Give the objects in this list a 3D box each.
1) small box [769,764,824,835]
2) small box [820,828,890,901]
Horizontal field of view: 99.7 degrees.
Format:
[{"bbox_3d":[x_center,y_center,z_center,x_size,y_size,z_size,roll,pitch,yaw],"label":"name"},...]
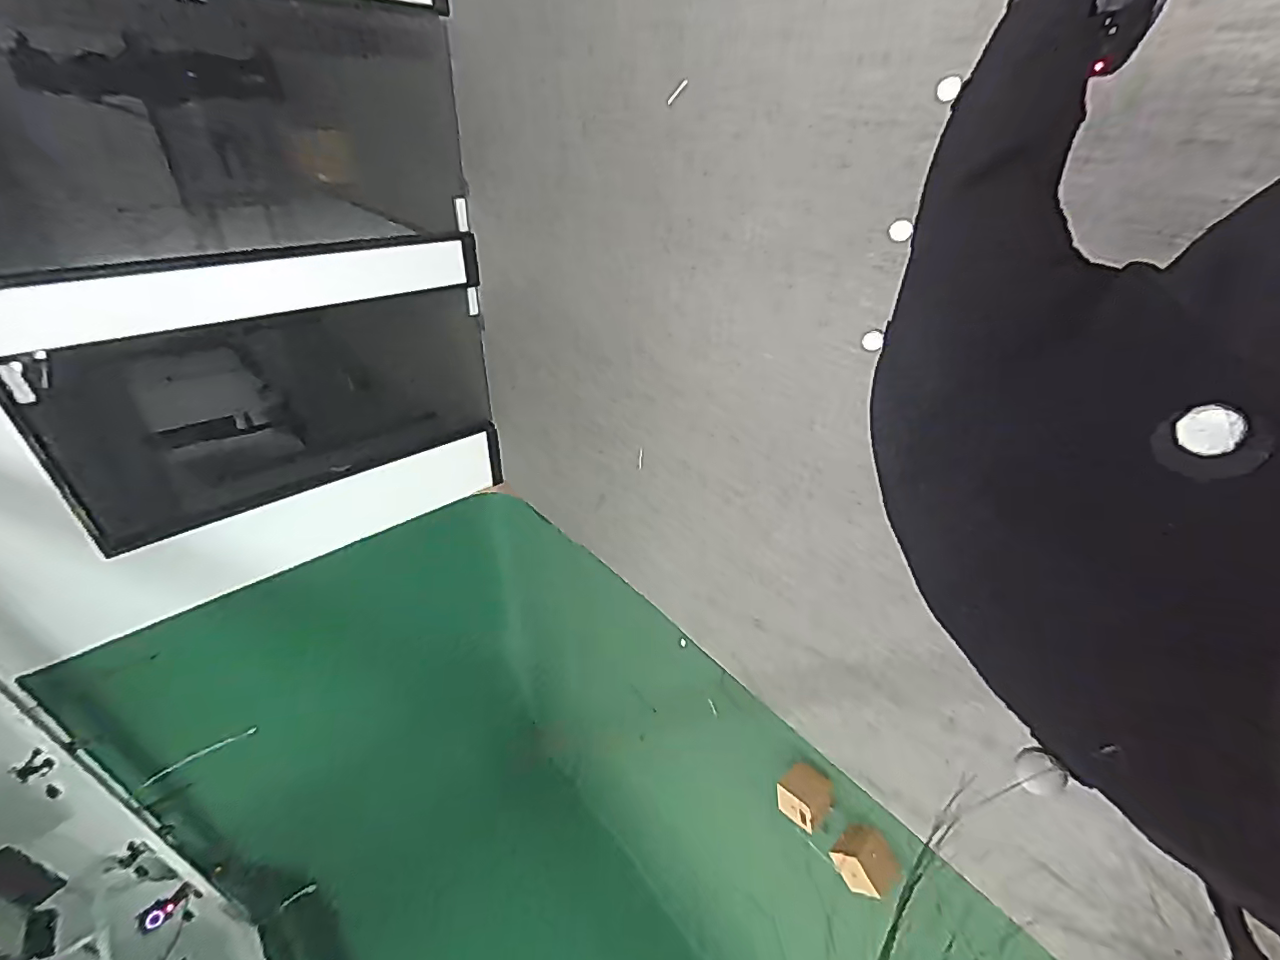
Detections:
[{"bbox_3d":[0.696,1.405,2.392,0.179,0.176,0.168,19,124,46],"label":"small box"},{"bbox_3d":[0.895,1.589,2.247,0.179,0.176,0.168,58,145,9],"label":"small box"}]
